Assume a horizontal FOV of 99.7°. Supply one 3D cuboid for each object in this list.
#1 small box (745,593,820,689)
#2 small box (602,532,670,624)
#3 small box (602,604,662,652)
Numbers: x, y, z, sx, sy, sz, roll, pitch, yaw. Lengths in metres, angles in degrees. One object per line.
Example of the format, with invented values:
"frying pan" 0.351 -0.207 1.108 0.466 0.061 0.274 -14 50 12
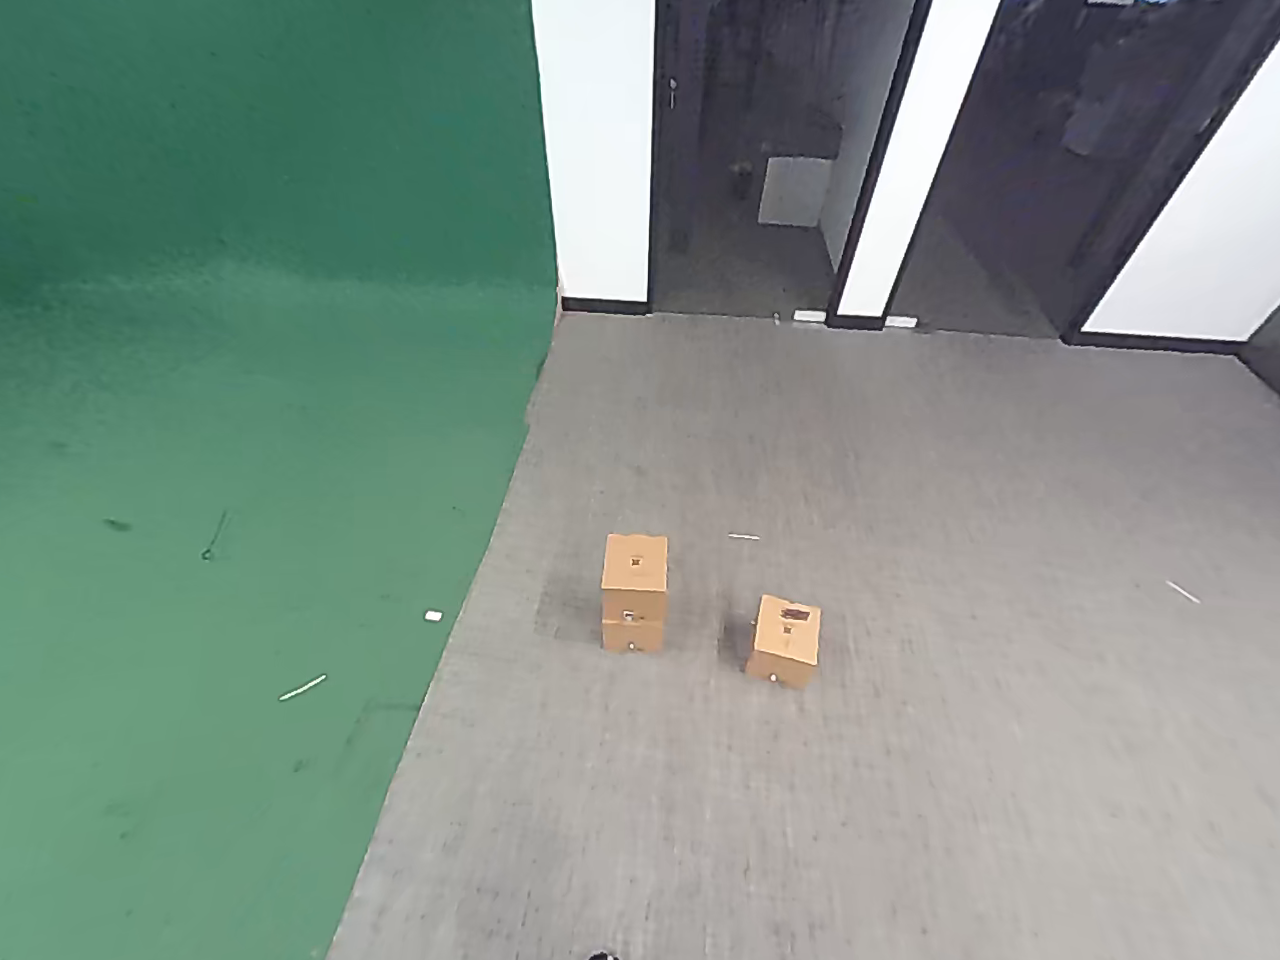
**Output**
"small box" 0.397 0.452 1.515 0.168 0.176 0.179 13 48 10
"small box" -0.008 0.265 1.460 0.168 0.176 0.179 3 45 3
"small box" -0.021 0.377 1.573 0.168 0.176 0.179 3 46 1
